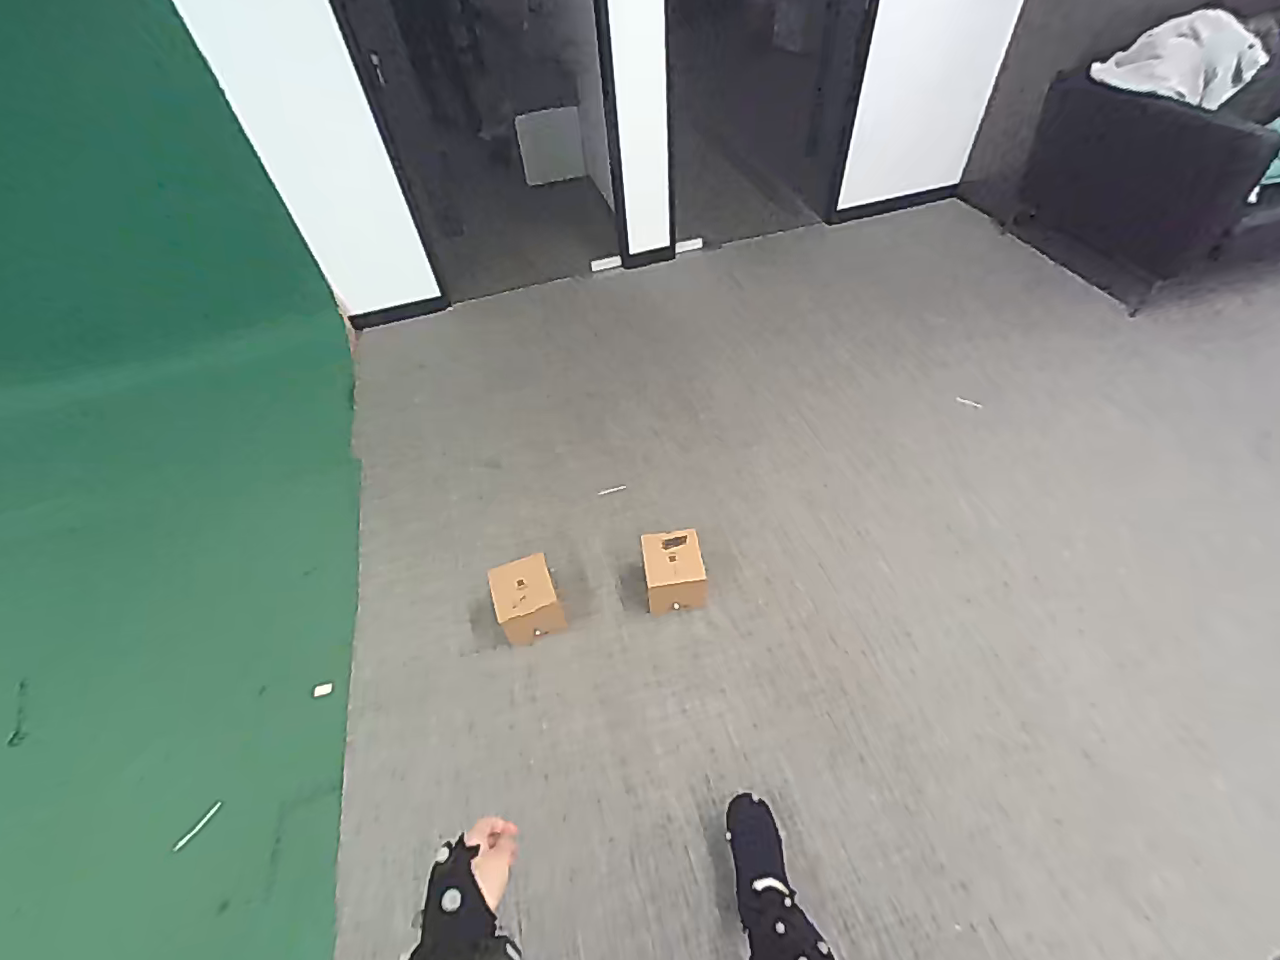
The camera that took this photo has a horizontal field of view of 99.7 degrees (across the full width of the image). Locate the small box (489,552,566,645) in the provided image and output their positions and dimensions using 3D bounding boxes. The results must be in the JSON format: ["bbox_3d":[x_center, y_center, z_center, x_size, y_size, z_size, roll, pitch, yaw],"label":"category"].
[{"bbox_3d":[-0.323,0.344,1.557,0.168,0.176,0.179,-18,50,-10],"label":"small box"}]

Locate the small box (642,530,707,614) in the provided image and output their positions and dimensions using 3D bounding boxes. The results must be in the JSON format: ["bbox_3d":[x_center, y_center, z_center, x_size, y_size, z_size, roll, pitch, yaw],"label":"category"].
[{"bbox_3d":[0.098,0.270,1.586,0.168,0.176,0.179,-7,50,-1],"label":"small box"}]
